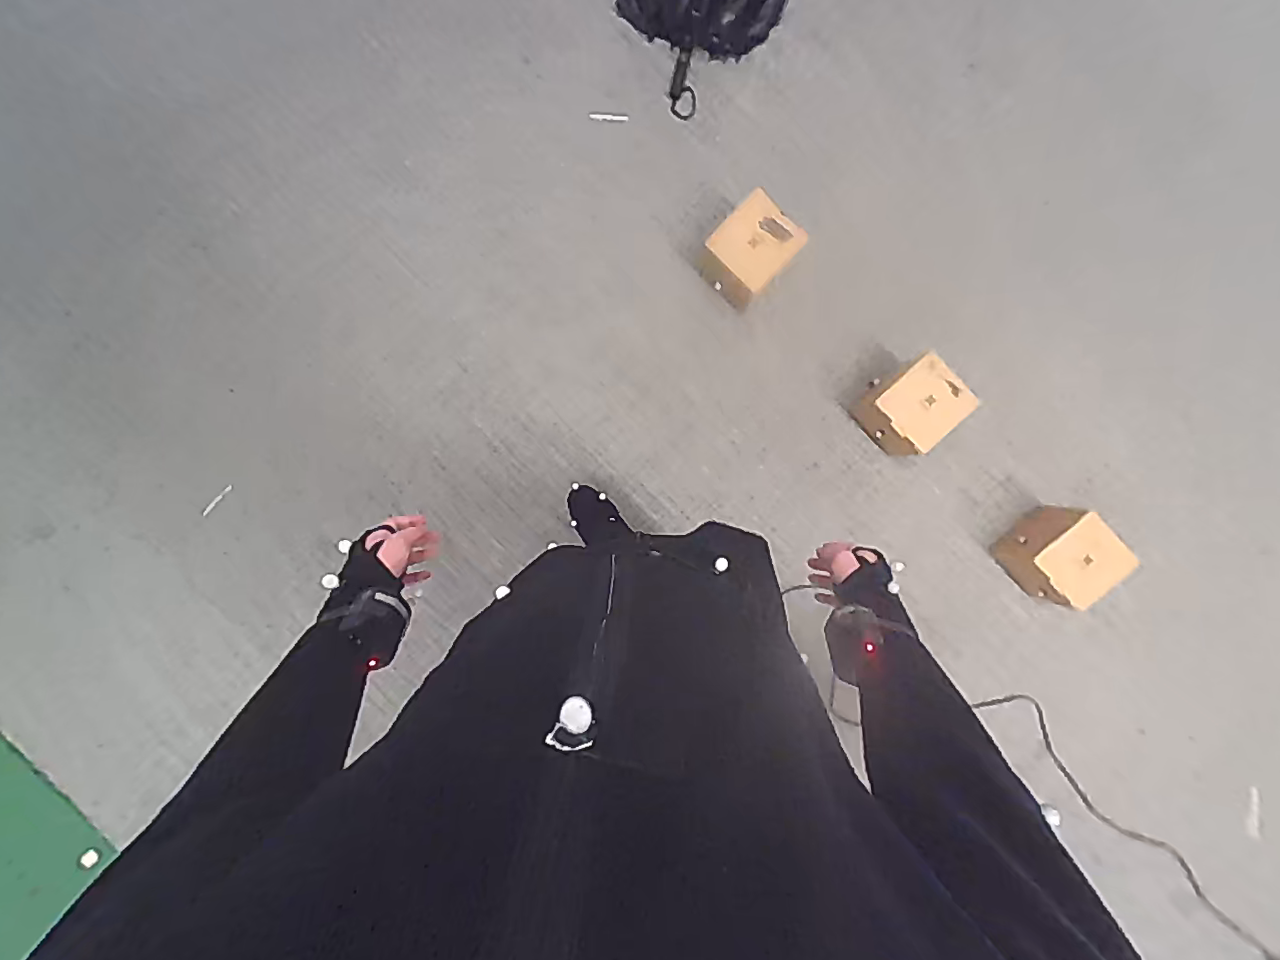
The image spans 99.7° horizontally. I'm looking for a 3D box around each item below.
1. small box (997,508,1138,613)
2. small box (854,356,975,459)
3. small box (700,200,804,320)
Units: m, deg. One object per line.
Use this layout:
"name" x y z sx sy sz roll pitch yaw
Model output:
"small box" 1.001 0.184 1.292 0.179 0.176 0.168 -44 90 2
"small box" 0.642 -0.164 1.297 0.179 0.176 0.168 -43 89 3
"small box" 0.258 -0.519 1.302 0.168 0.176 0.179 44 94 1
